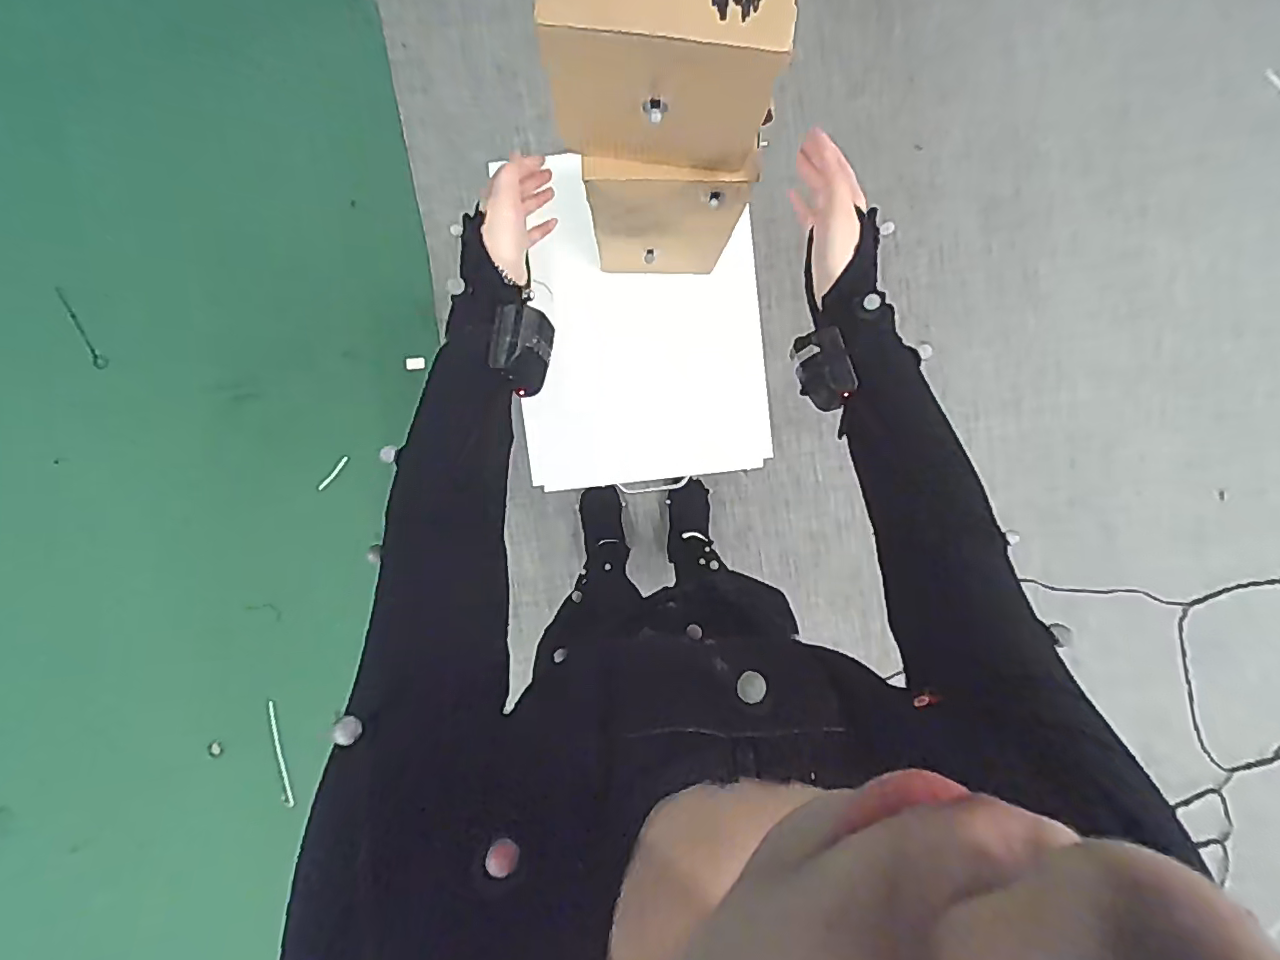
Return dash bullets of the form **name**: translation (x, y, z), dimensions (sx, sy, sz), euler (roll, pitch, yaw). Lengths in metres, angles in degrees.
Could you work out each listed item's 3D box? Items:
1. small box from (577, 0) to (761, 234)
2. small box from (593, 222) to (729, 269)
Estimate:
- **small box**: translation (0.026, -0.384, 0.596), dimensions (0.179, 0.176, 0.168), euler (0, 95, -2)
- **small box**: translation (0.028, -0.403, 0.758), dimensions (0.179, 0.176, 0.168), euler (0, 96, -1)
